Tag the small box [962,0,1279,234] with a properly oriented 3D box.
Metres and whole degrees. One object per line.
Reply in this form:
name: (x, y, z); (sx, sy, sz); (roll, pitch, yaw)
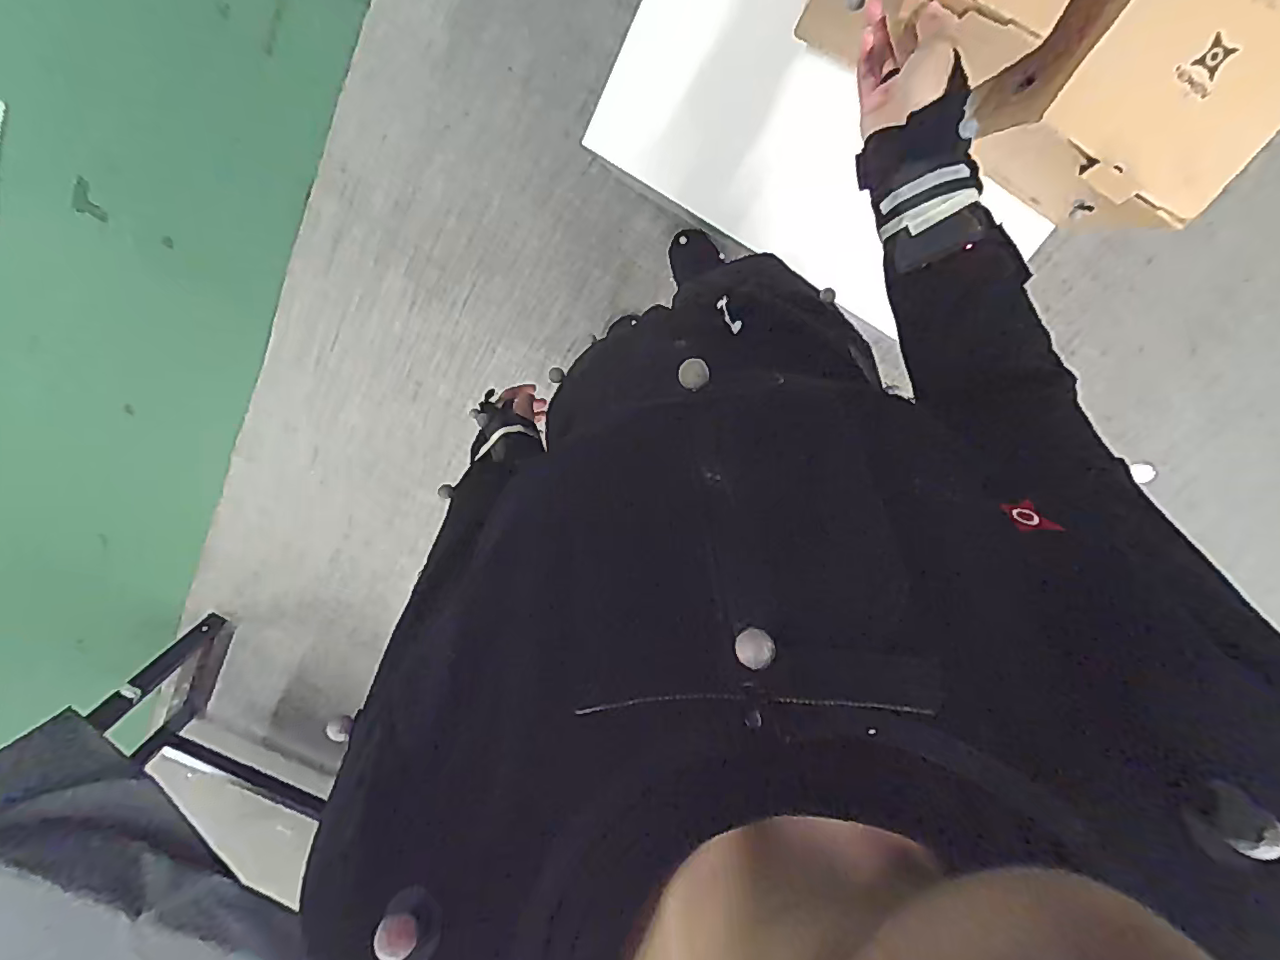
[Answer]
small box: (0.430, -0.344, 0.485); (0.168, 0.176, 0.179); (27, 113, -9)
